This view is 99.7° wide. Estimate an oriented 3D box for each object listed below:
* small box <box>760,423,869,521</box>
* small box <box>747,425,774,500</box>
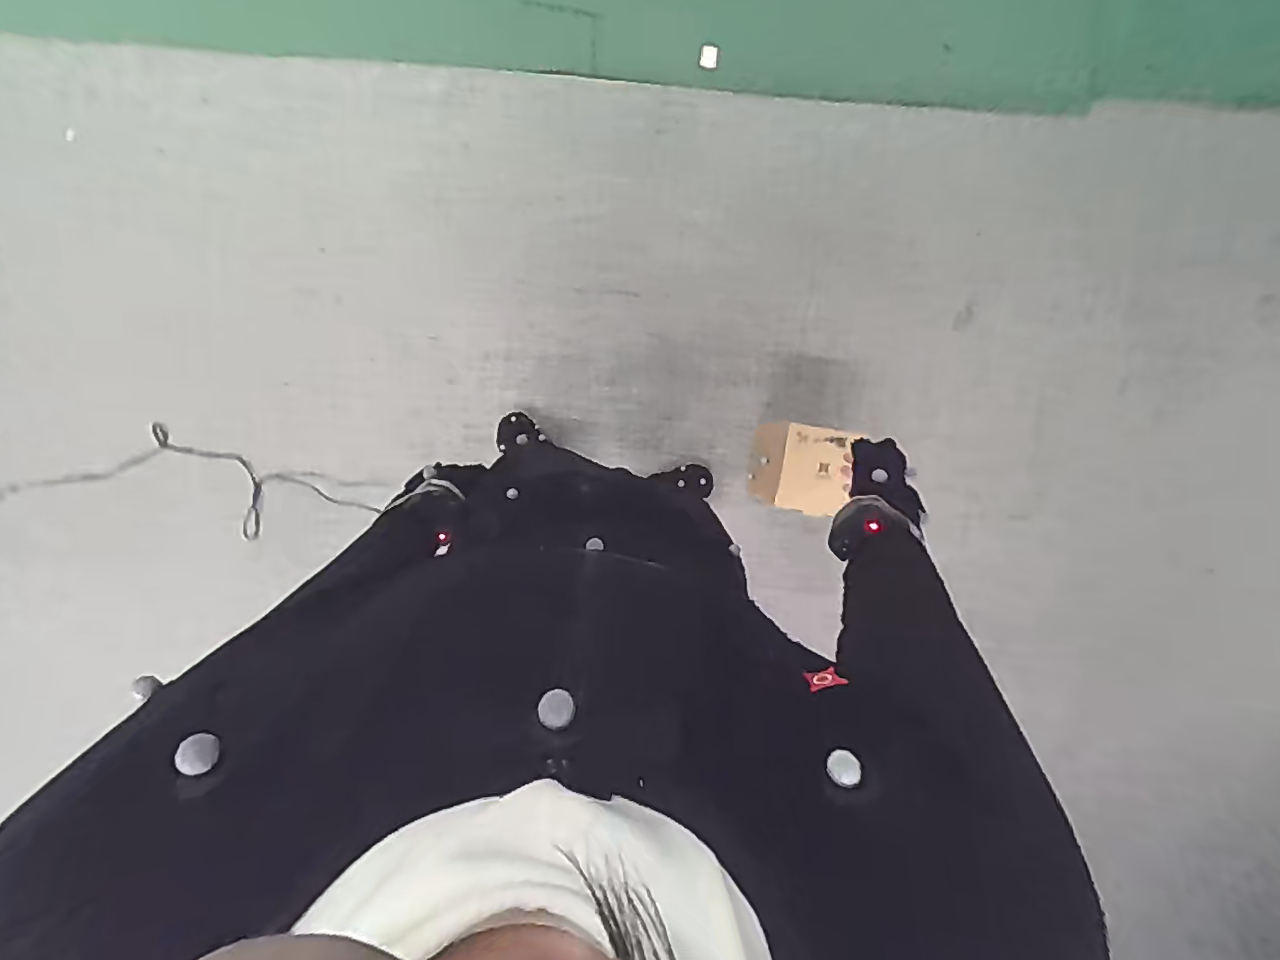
[{"bbox_3d":[0.365,-0.024,1.166,0.168,0.176,0.179,10,96,0],"label":"small box"},{"bbox_3d":[0.365,-0.037,1.330,0.168,0.176,0.179,8,95,0],"label":"small box"}]
